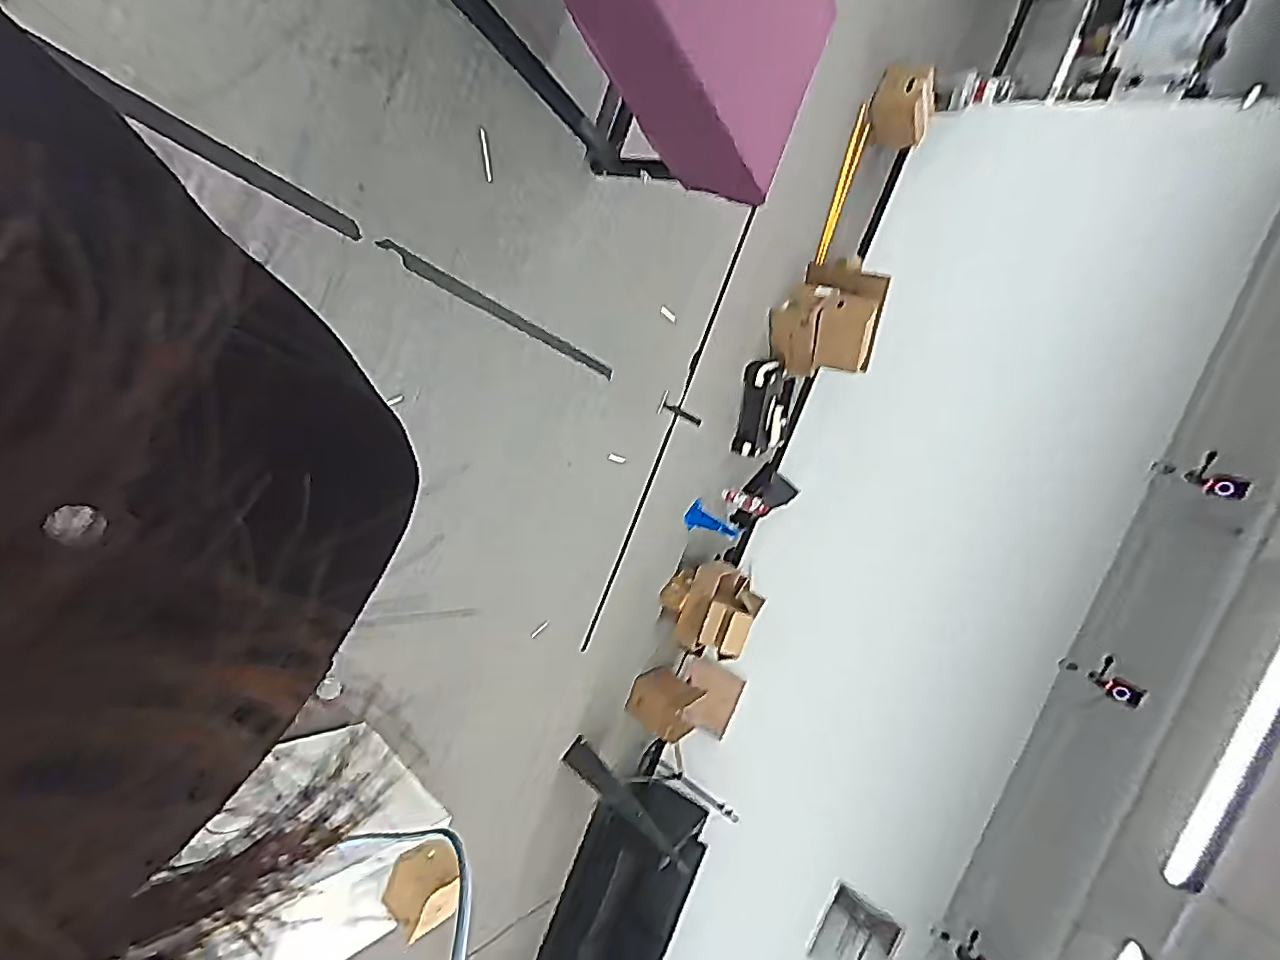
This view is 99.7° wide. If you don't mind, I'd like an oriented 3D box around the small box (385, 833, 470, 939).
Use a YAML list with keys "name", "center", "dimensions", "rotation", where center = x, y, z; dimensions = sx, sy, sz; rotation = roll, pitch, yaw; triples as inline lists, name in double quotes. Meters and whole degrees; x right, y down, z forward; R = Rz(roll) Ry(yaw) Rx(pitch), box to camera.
- name: "small box"
  center: [-0.681, 1.282, 1.722]
  dimensions: [0.168, 0.176, 0.179]
  rotation: [14, 100, -58]
